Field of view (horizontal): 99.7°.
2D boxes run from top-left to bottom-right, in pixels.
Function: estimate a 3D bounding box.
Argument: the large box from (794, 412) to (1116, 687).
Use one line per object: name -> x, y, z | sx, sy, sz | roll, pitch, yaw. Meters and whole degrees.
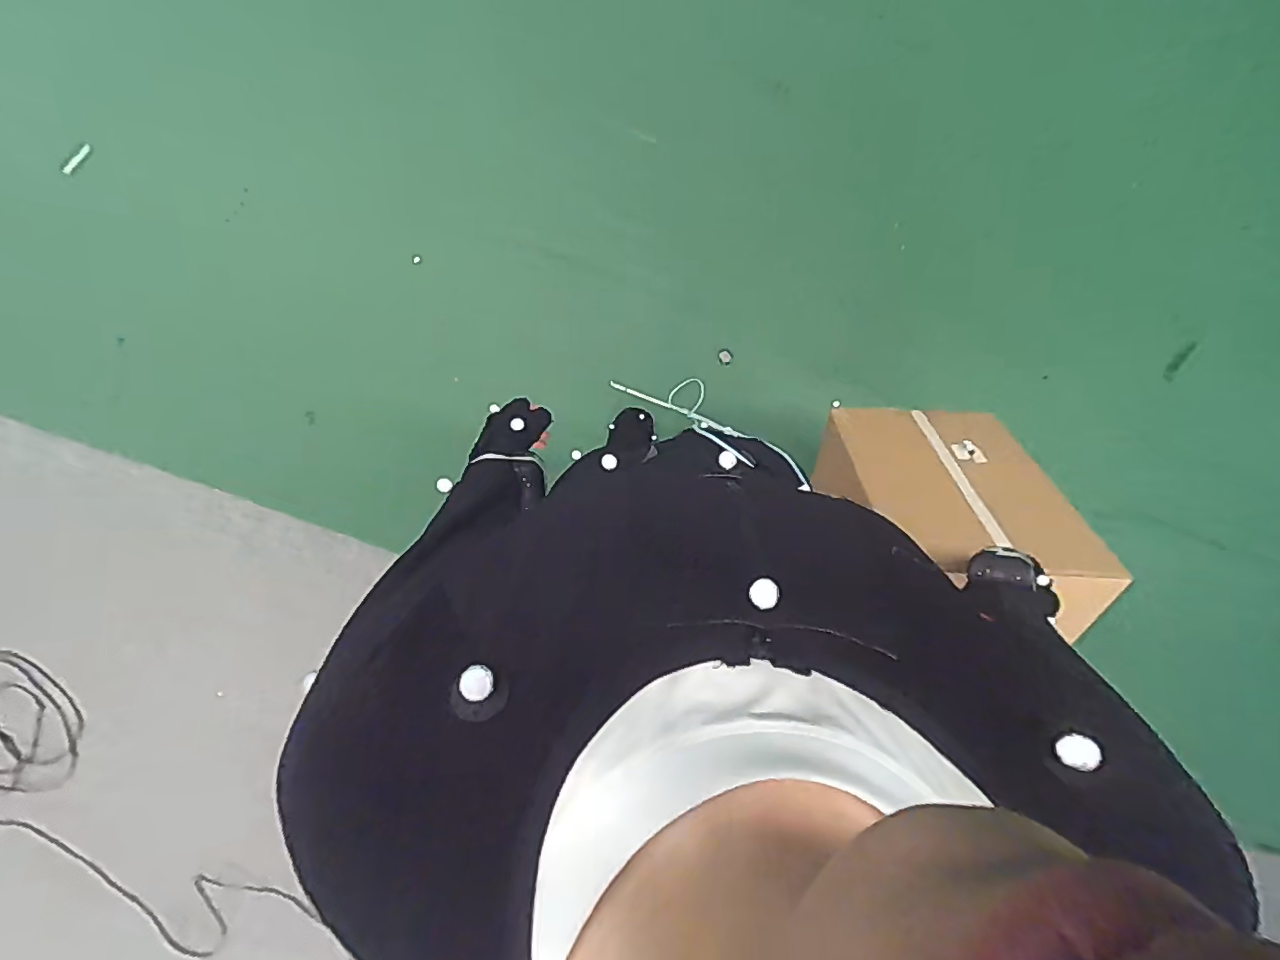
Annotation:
large box -> 0.502, 0.116, 0.986 | 0.320, 0.408, 0.320 | 4, 128, -2
